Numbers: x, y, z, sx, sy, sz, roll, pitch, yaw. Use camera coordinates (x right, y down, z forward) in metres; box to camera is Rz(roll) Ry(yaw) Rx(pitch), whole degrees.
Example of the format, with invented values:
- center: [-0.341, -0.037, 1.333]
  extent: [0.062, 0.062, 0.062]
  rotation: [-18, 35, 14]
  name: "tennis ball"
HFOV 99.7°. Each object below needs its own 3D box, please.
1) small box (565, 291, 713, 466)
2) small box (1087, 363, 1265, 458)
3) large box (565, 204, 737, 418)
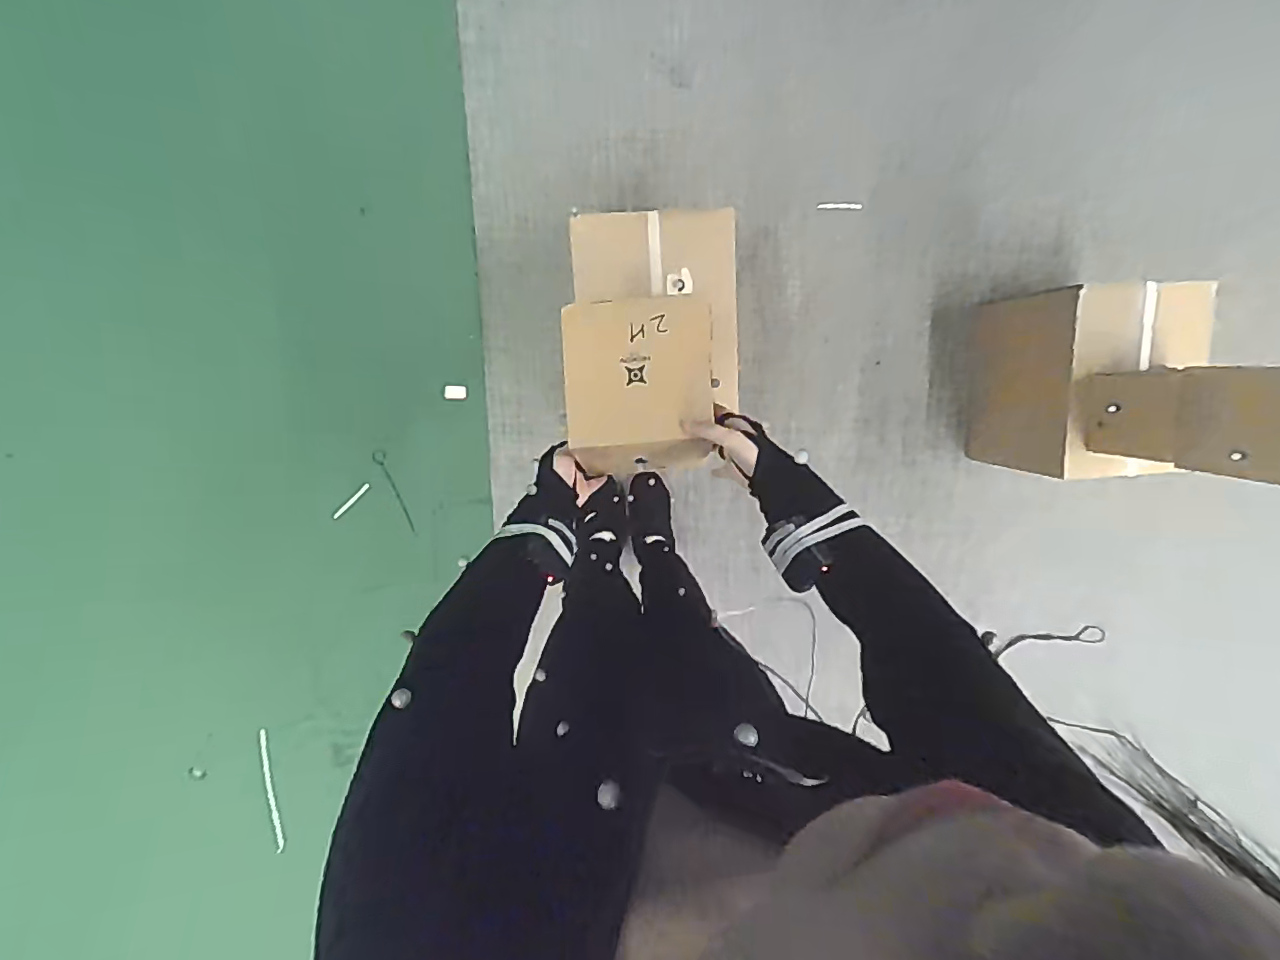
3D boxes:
- center: [0.001, -0.116, 0.693]
  extent: [0.168, 0.176, 0.179]
  rotation: [-4, 80, 1]
  name: "small box"
- center: [1.042, -0.143, 1.064]
  extent: [0.179, 0.176, 0.168]
  rotation: [-6, 102, -3]
  name: "small box"
- center: [0.018, -0.334, 1.181]
  extent: [0.320, 0.320, 0.408]
  rotation: [-4, 100, -4]
  name: "large box"
